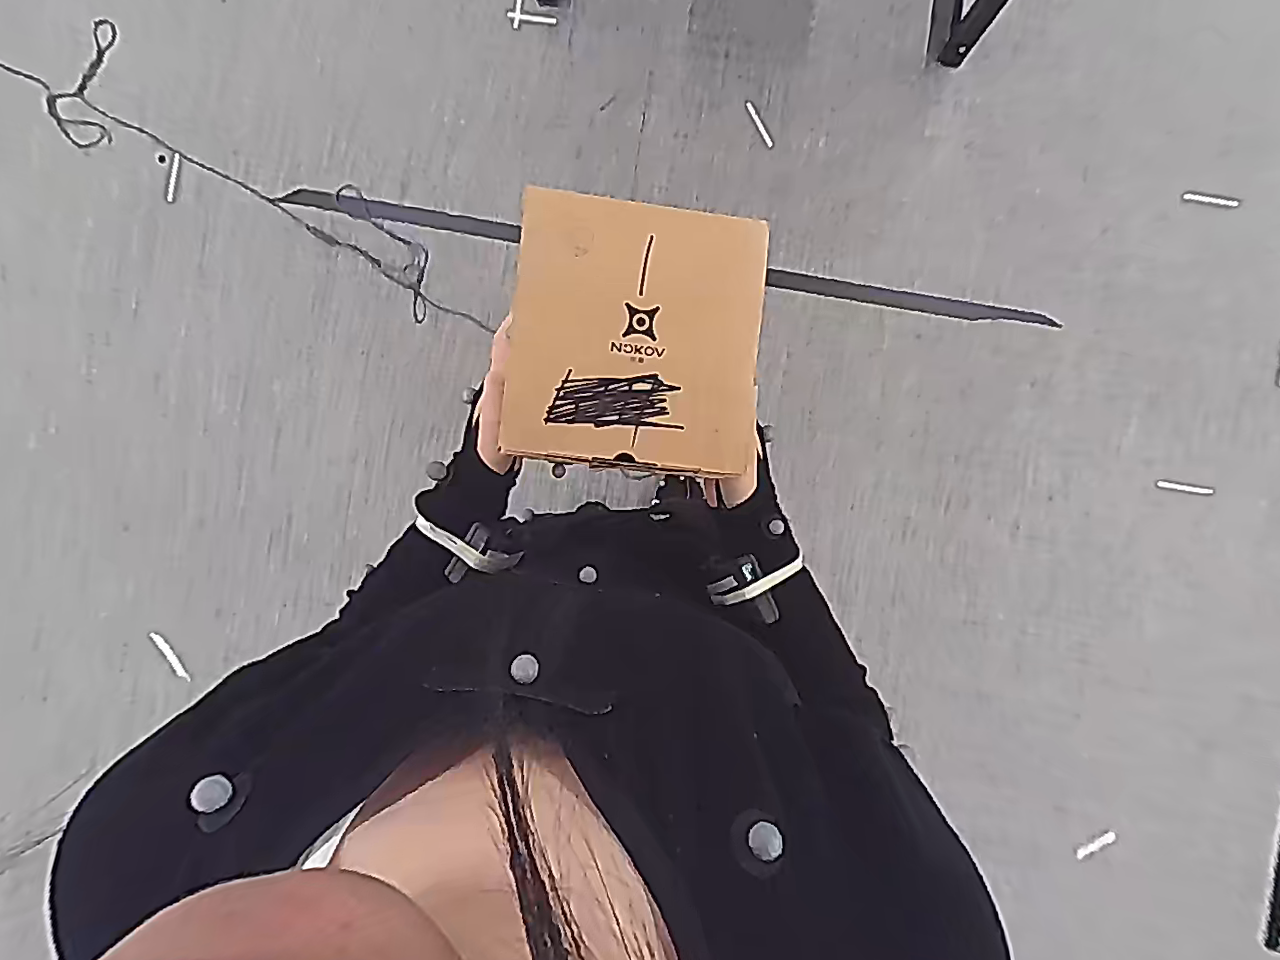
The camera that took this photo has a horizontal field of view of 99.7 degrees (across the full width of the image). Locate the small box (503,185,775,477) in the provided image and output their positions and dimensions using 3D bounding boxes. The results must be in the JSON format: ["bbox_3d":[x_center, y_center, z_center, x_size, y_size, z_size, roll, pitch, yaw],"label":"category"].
[{"bbox_3d":[-0.006,-0.097,0.437,0.168,0.176,0.179,7,89,-6],"label":"small box"}]

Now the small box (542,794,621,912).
[{"bbox_3d":[-0.144,0.960,1.405,0.168,0.176,0.179,12,89,-1],"label":"small box"}]
